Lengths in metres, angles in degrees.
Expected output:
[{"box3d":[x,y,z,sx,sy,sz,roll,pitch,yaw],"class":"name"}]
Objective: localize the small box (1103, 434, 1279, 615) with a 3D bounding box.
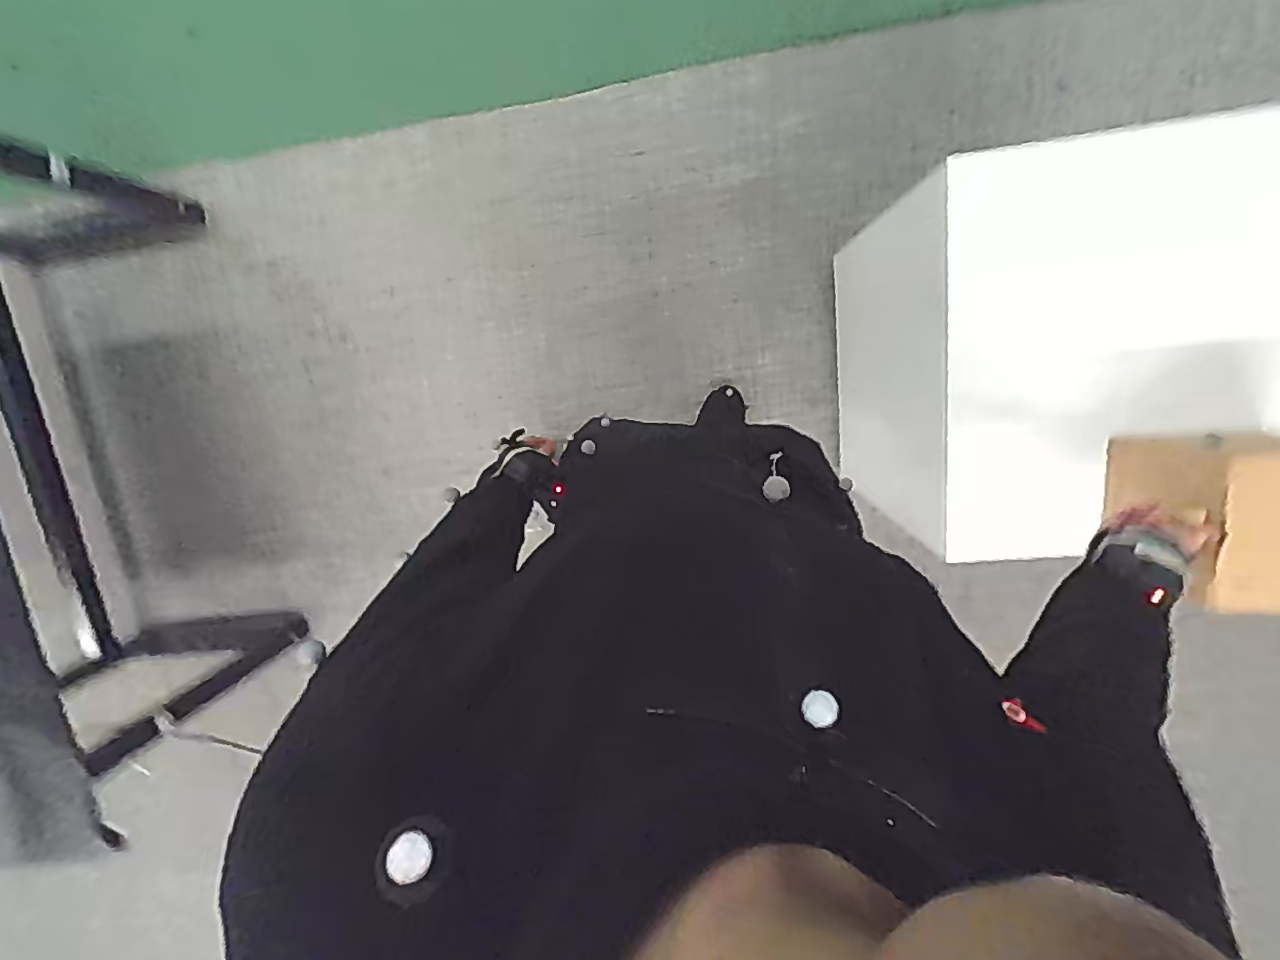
[{"box3d":[0.673,0.041,0.606,0.179,0.176,0.168,-3,101,7],"class":"small box"}]
